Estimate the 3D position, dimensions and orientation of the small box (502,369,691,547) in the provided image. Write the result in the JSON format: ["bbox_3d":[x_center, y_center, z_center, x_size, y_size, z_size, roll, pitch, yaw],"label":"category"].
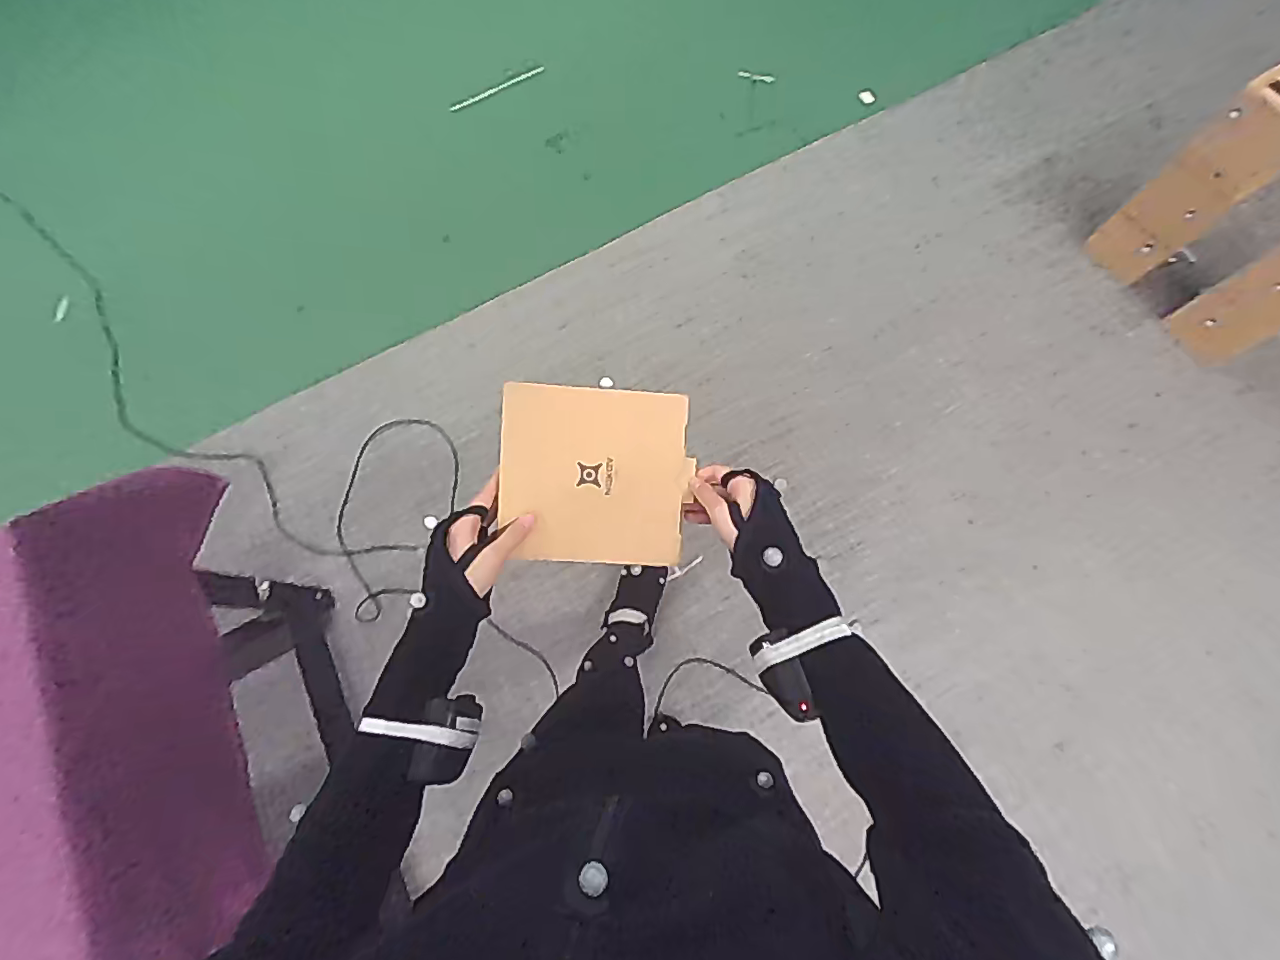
[{"bbox_3d":[-0.049,-0.020,0.603,0.179,0.176,0.168,3,90,-7],"label":"small box"}]

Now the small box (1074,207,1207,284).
[{"bbox_3d":[1.393,-0.681,1.516,0.168,0.176,0.179,-32,73,-6],"label":"small box"}]

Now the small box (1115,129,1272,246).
[{"bbox_3d":[1.374,-0.721,1.358,0.168,0.176,0.179,-31,73,-6],"label":"small box"}]
